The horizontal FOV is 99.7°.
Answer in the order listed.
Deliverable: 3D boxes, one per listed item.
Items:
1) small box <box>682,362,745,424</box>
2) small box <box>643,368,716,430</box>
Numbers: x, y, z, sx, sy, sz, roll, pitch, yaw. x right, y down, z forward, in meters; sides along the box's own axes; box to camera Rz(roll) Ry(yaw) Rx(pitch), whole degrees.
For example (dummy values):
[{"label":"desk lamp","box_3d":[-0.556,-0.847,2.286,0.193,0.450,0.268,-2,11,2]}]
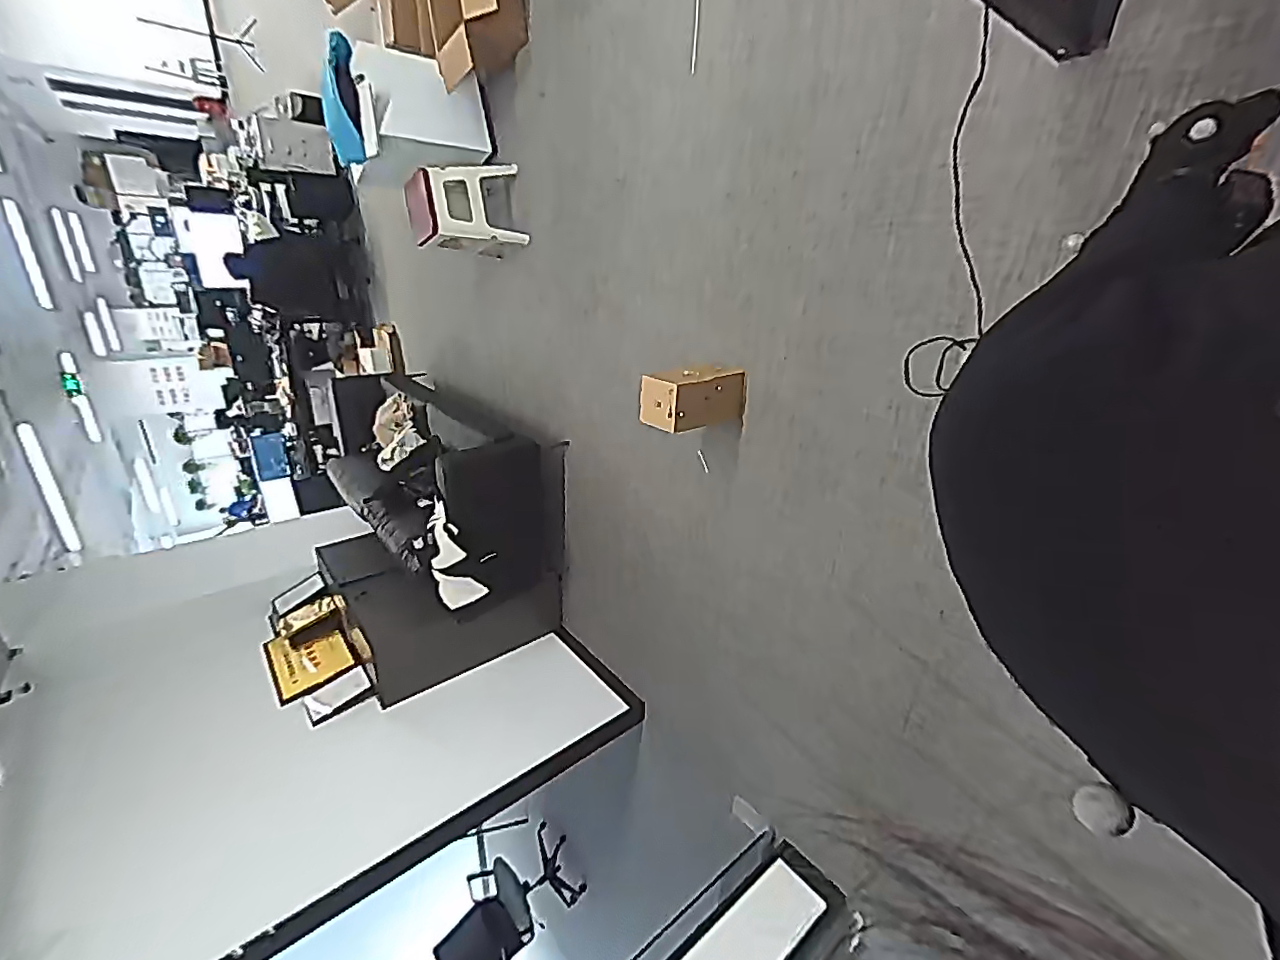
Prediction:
[{"label":"small box","box_3d":[0.259,-0.318,1.937,0.168,0.176,0.179,28,123,44]},{"label":"small box","box_3d":[0.132,-0.282,1.838,0.179,0.176,0.168,29,124,45]}]
